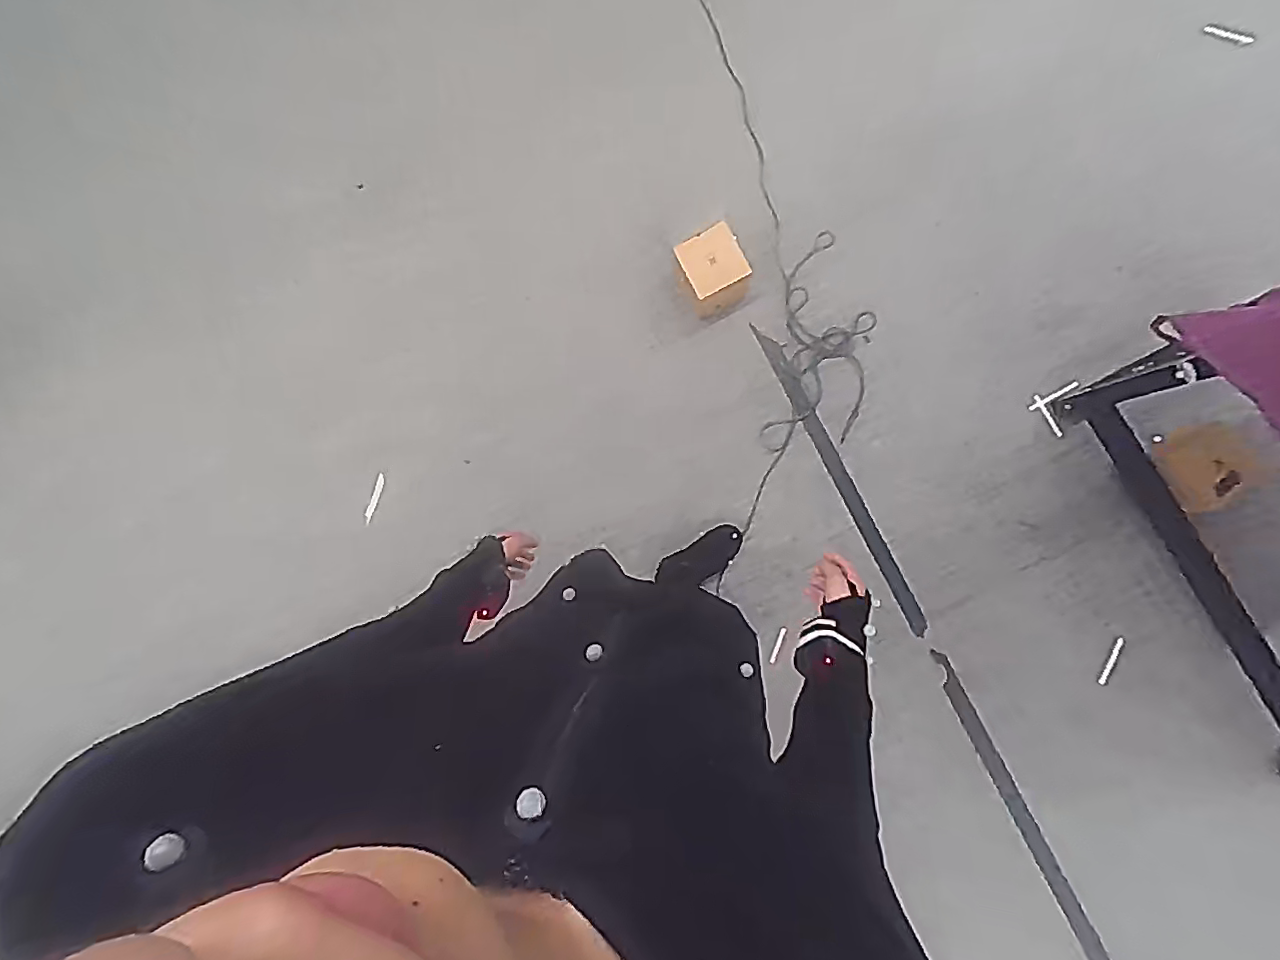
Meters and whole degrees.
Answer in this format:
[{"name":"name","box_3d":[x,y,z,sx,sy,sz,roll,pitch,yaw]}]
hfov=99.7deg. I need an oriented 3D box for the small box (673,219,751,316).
[{"name":"small box","box_3d":[0.206,-0.614,1.581,0.168,0.176,0.179,-27,85,4]}]
